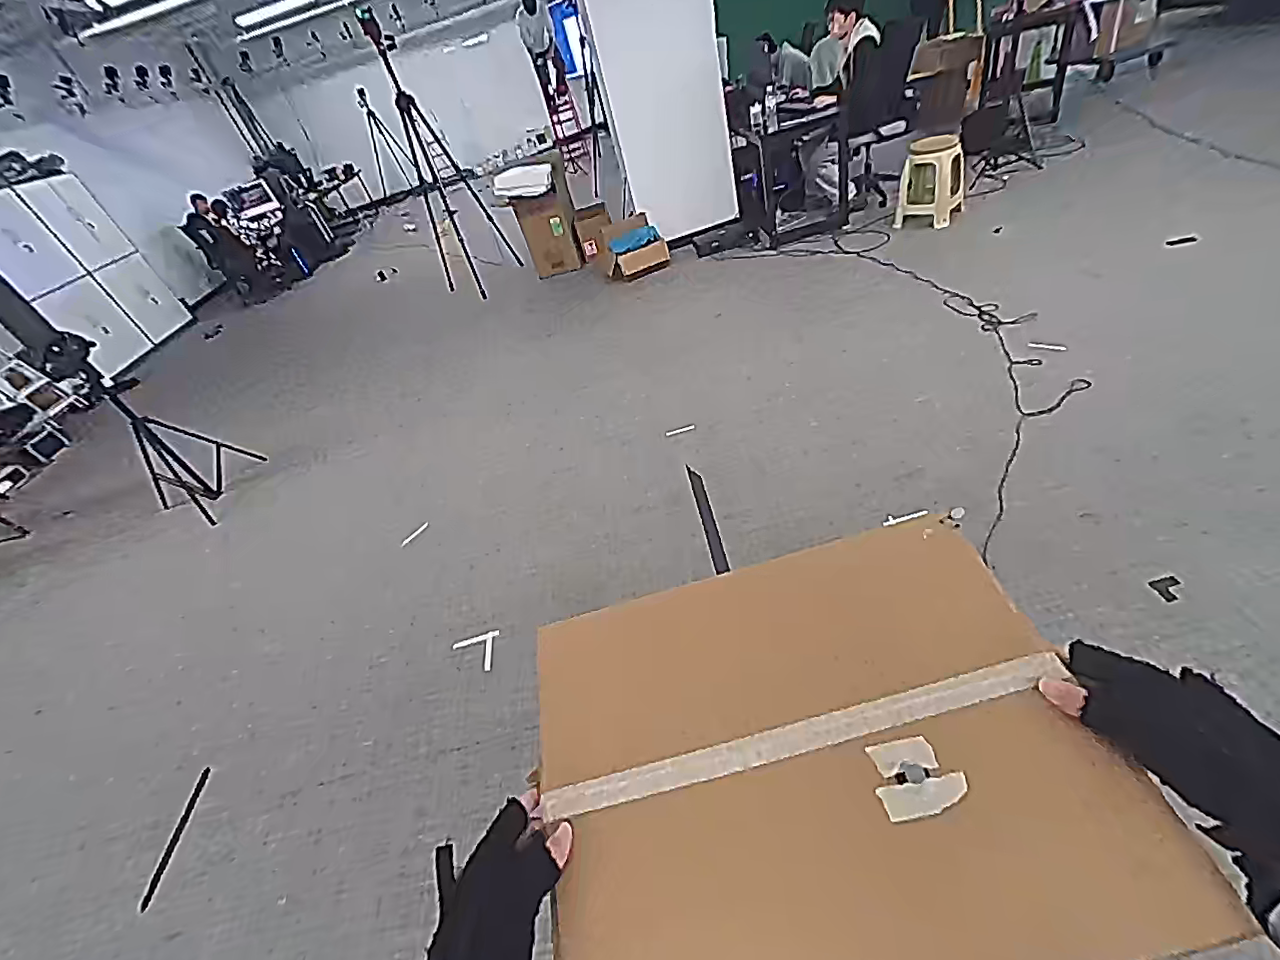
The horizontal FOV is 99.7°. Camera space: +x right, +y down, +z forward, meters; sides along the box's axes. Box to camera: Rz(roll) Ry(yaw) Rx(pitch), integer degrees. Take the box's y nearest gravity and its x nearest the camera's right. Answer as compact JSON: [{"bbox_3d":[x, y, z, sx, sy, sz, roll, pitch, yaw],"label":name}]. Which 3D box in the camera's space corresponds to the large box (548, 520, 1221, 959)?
[{"bbox_3d":[0.159,0.300,0.531,0.408,0.320,0.320,-17,47,2],"label":"large box"}]
